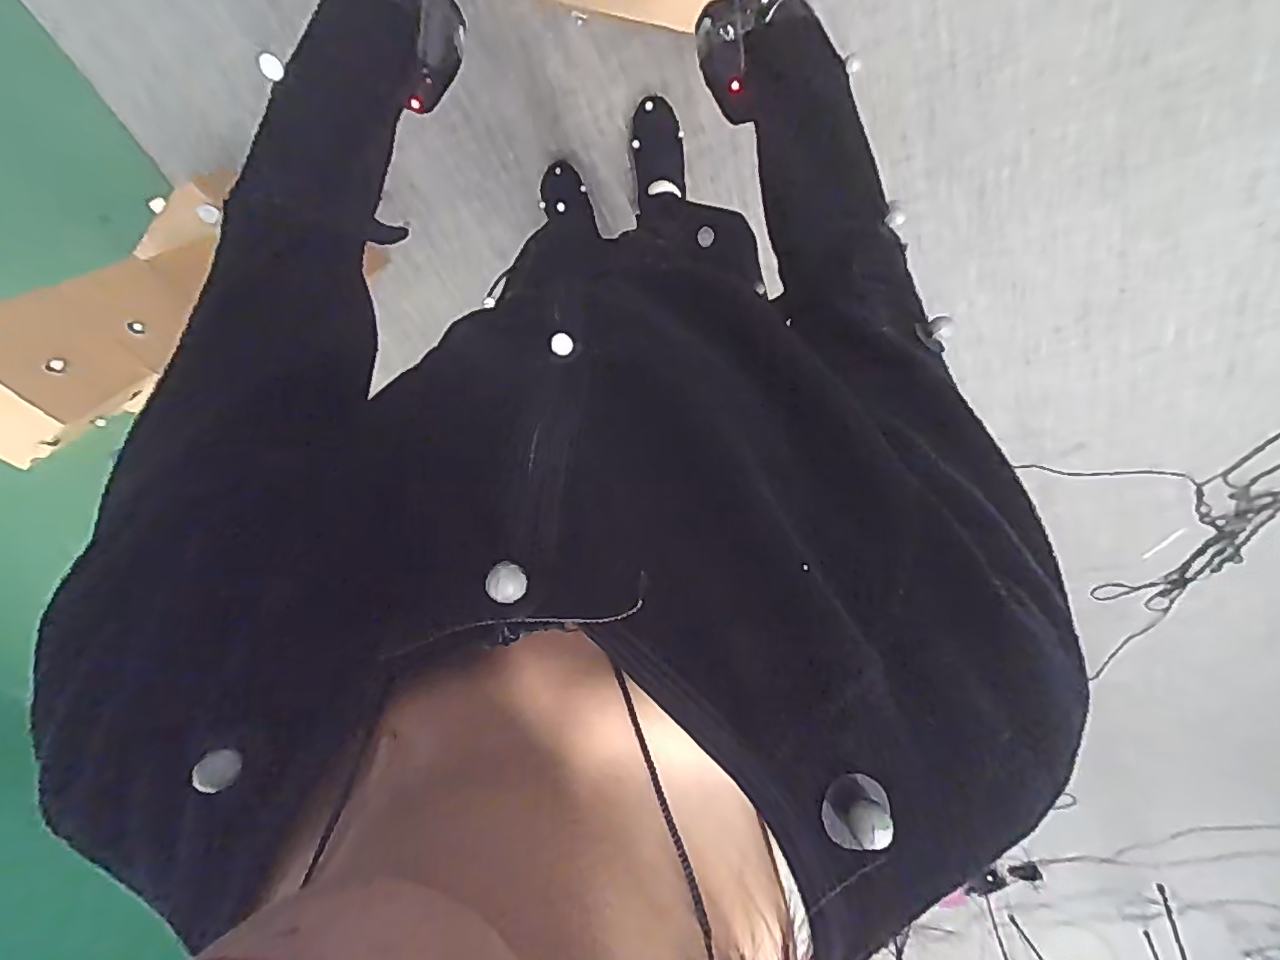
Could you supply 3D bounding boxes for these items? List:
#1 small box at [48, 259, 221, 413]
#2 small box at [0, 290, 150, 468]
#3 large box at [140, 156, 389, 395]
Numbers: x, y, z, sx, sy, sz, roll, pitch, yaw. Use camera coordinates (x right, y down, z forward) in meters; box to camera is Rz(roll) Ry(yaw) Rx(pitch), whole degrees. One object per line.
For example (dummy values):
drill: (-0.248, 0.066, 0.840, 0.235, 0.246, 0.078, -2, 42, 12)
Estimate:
small box: (-0.908, -0.257, 0.959, 0.168, 0.176, 0.179, -24, 122, 23)
small box: (-0.926, -0.156, 0.830, 0.168, 0.176, 0.179, -26, 123, 23)
large box: (-0.900, -0.486, 1.299, 0.408, 0.320, 0.320, -29, 118, 26)
